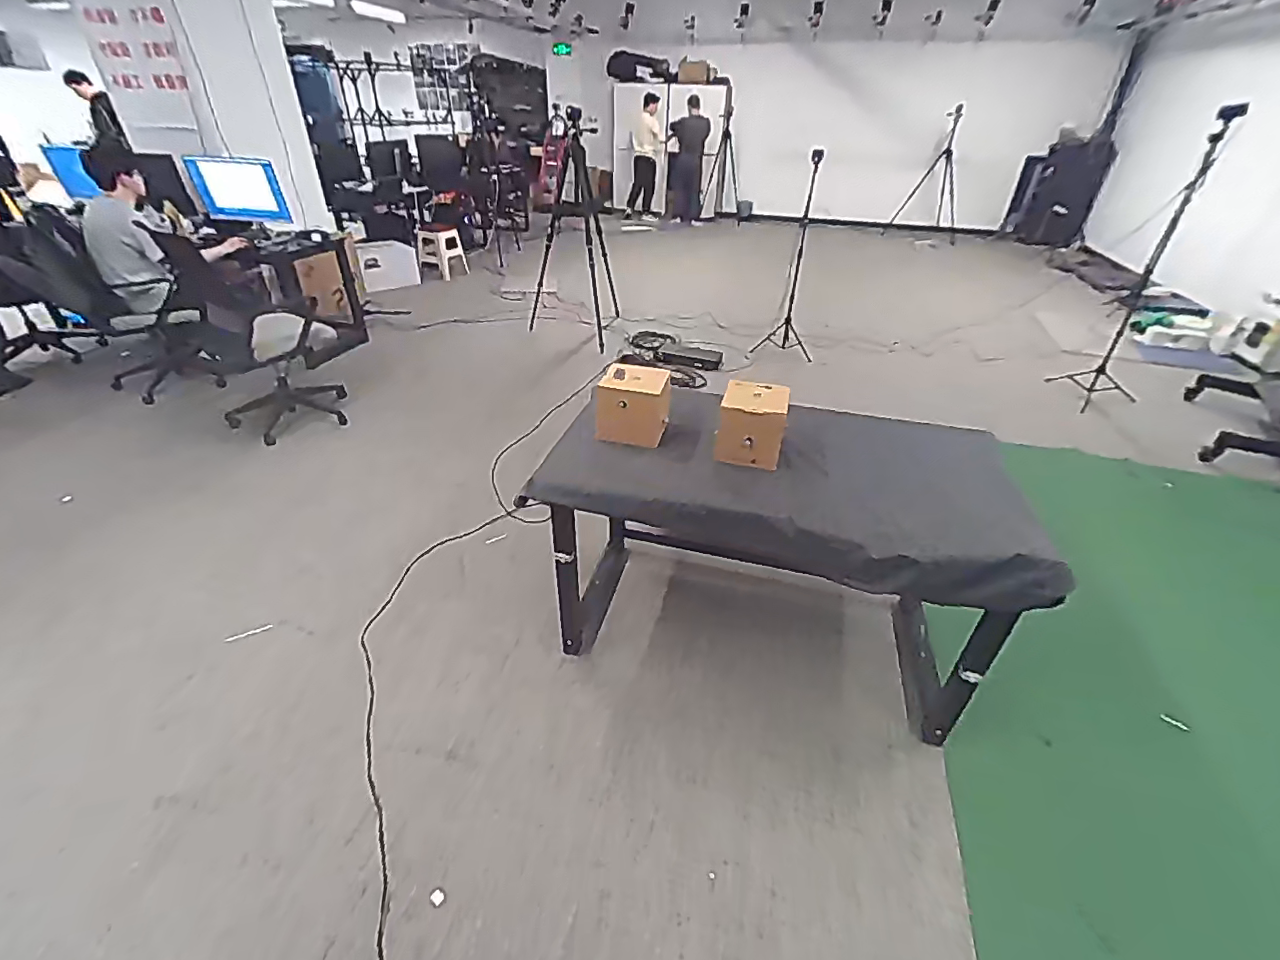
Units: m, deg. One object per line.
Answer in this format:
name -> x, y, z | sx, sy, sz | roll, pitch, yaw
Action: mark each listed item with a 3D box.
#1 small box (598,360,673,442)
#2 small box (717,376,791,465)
small box -> -0.013, -0.222, 1.526 | 0.179, 0.176, 0.168 | 10, 36, 9
small box -> 0.304, -0.159, 1.452 | 0.168, 0.176, 0.179 | 11, 36, 12
